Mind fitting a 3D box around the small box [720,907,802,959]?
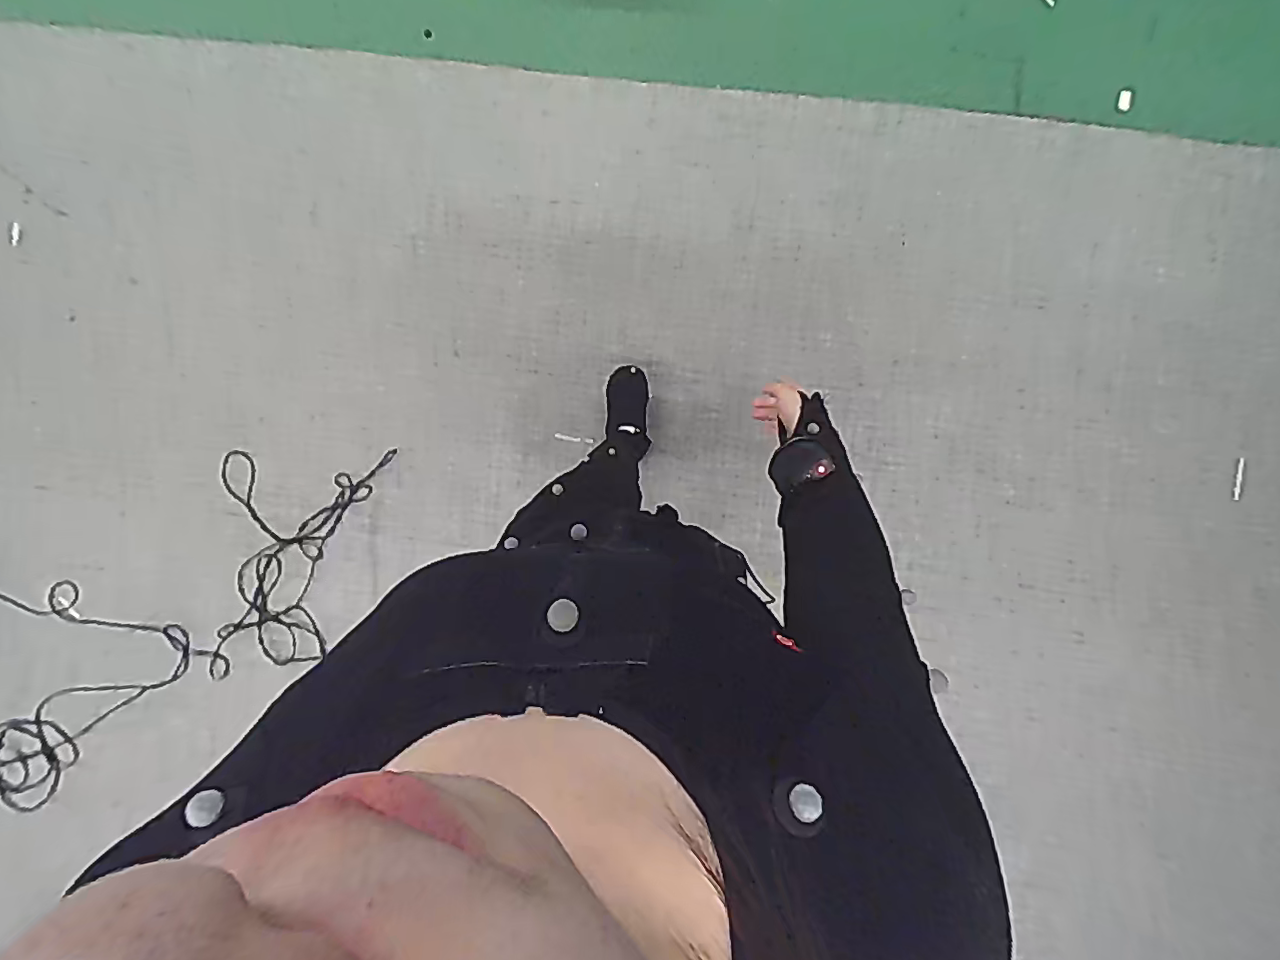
[{"bbox_3d":[0.312,1.269,1.415,0.179,0.176,0.168,8,91,1],"label":"small box"}]
